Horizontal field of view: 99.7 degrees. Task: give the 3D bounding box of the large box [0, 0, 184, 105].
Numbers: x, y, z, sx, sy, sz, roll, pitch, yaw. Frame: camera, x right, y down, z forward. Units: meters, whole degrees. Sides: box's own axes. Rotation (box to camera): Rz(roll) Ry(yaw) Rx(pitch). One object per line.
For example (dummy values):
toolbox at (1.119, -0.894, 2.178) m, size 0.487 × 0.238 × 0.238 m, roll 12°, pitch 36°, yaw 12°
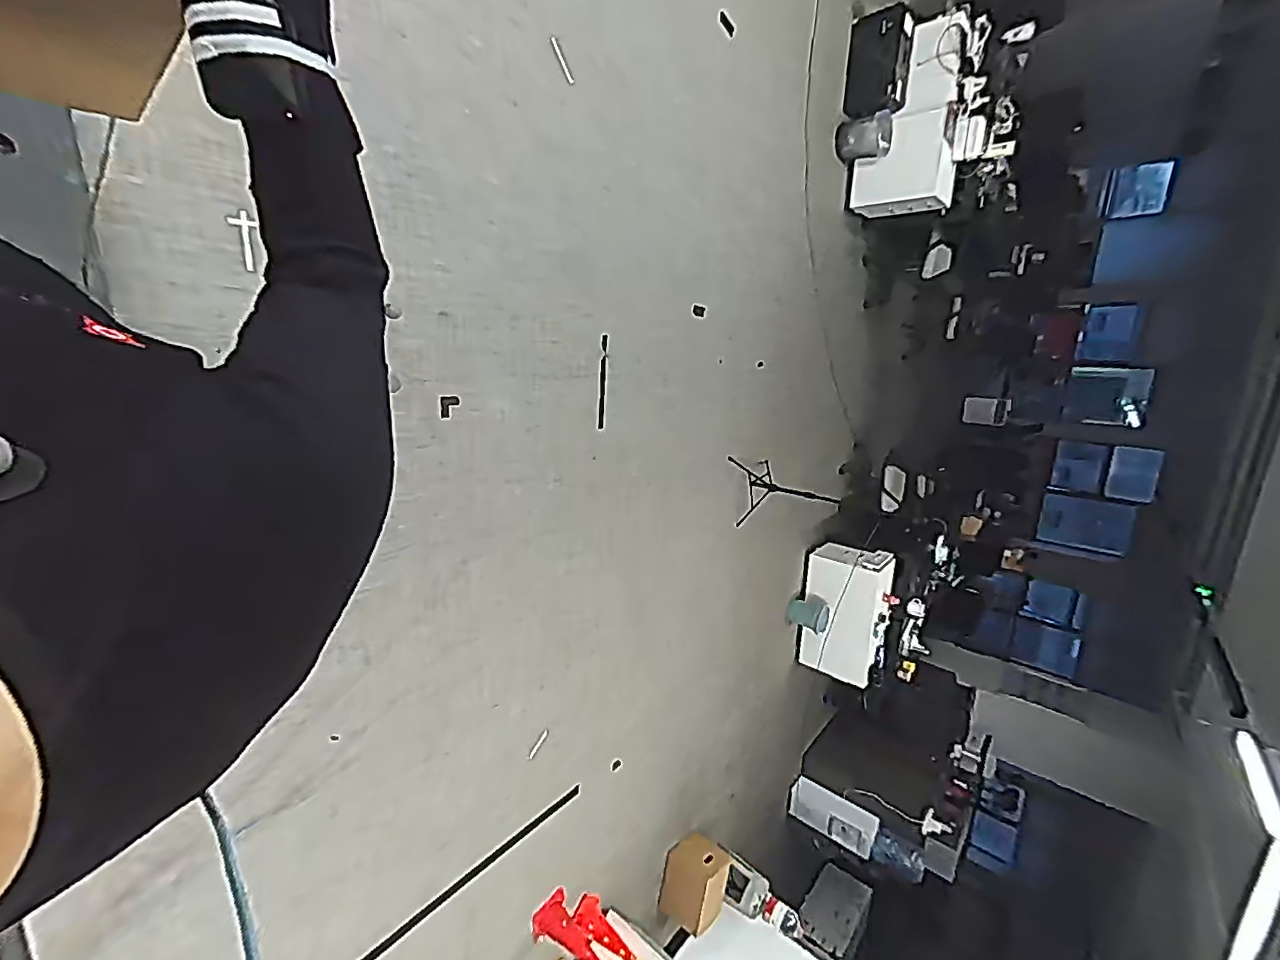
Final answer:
large box at (-0.500, -0.443, 0.238) m, size 0.408 × 0.320 × 0.320 m, roll -17°, pitch 109°, yaw -49°
